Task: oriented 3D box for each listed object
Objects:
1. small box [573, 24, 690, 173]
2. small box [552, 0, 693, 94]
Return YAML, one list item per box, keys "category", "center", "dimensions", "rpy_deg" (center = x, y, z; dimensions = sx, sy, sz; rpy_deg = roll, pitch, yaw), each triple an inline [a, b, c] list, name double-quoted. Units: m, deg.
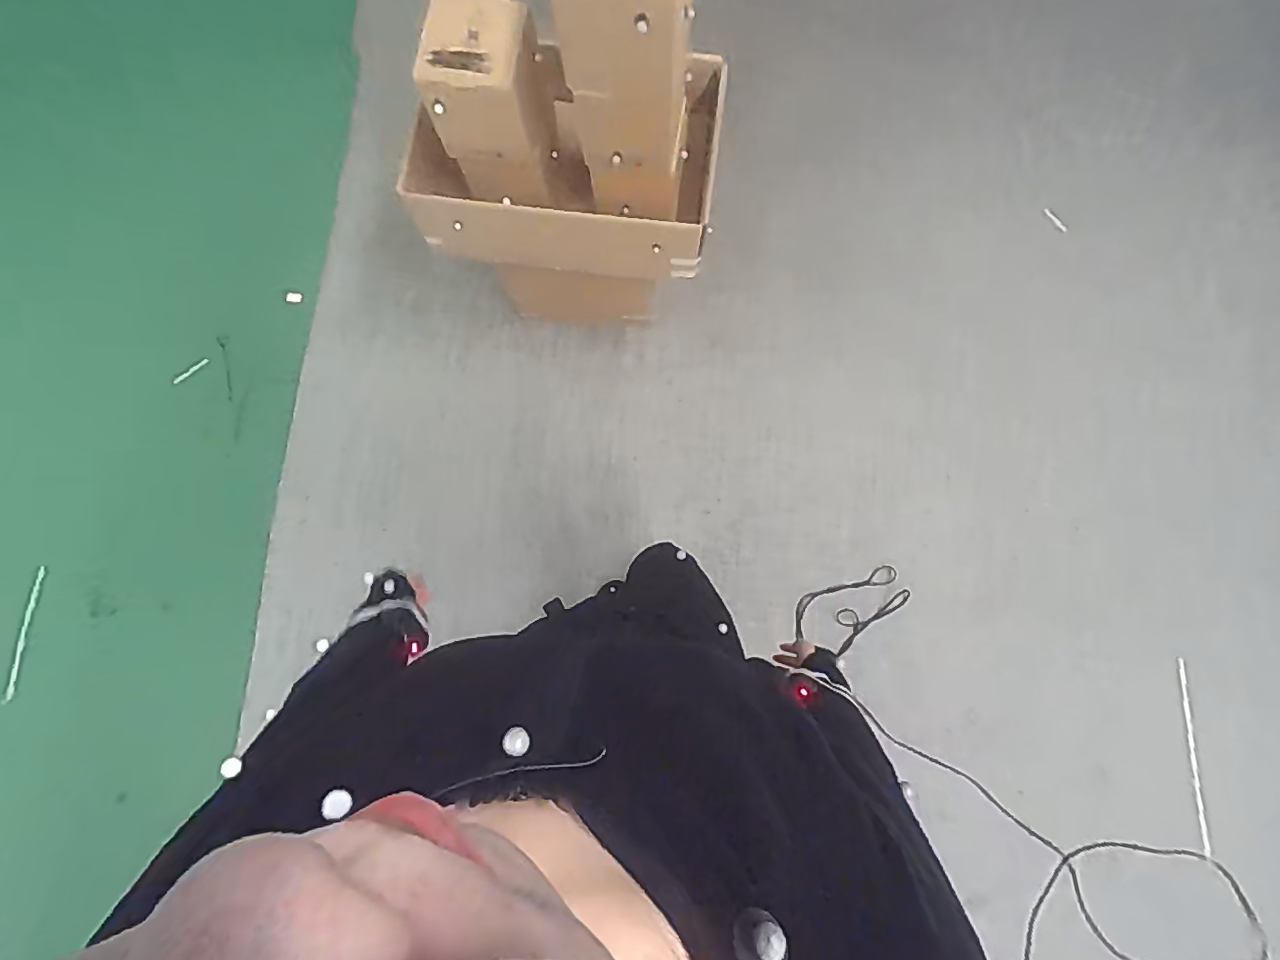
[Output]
- category: "small box"
  center: [-0.011, -0.685, 0.951]
  dimensions: [0.168, 0.176, 0.179]
  rpy_deg: [10, 82, 4]
- category: "small box"
  center: [-0.018, -0.708, 0.788]
  dimensions: [0.179, 0.176, 0.168]
  rpy_deg: [11, 81, 5]
